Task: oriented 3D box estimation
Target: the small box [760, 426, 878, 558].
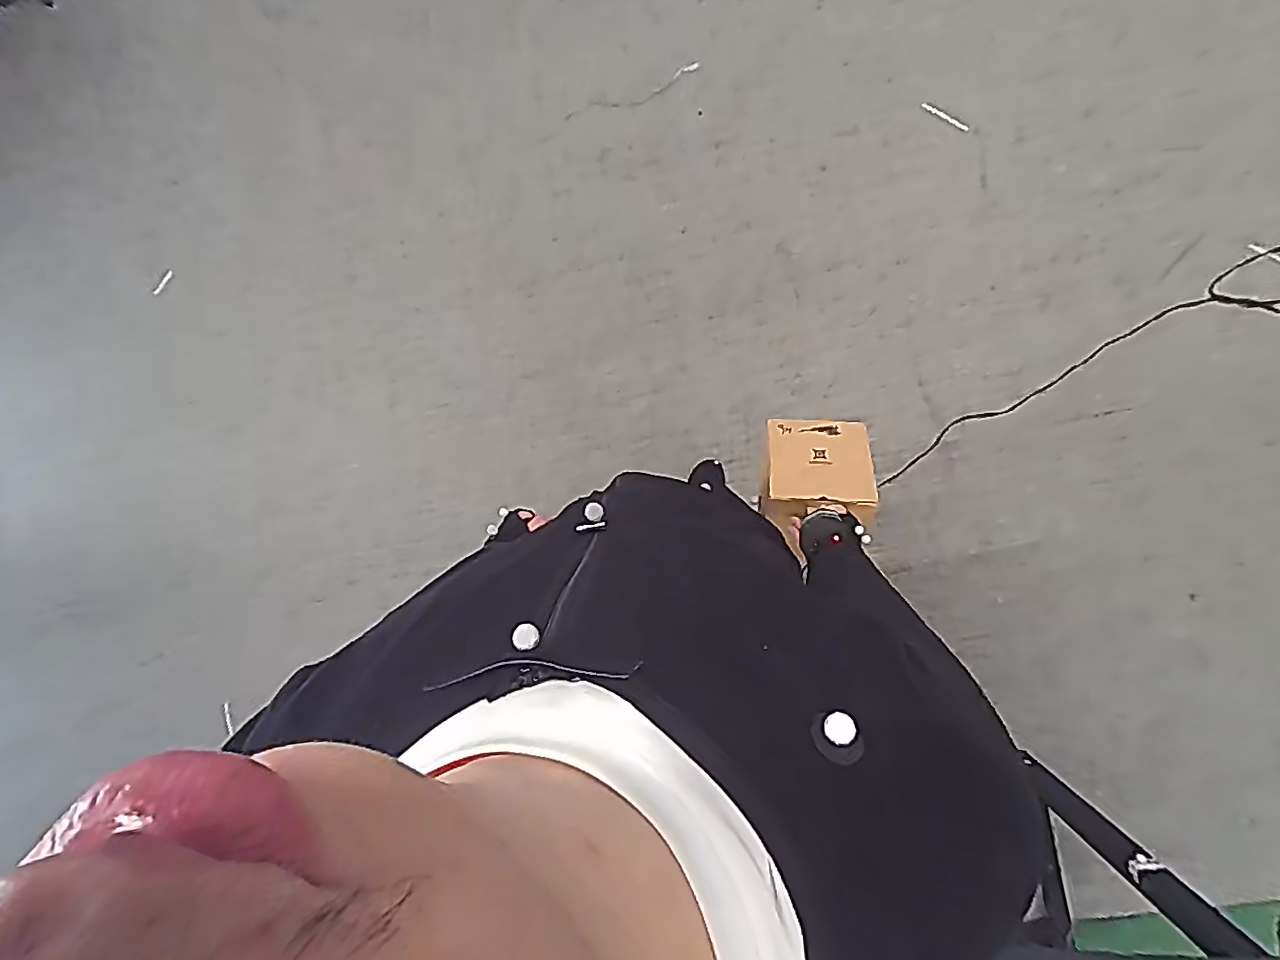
[{"bbox_3d":[0.303,0.024,0.954,0.168,0.176,0.179,1,51,7],"label":"small box"}]
